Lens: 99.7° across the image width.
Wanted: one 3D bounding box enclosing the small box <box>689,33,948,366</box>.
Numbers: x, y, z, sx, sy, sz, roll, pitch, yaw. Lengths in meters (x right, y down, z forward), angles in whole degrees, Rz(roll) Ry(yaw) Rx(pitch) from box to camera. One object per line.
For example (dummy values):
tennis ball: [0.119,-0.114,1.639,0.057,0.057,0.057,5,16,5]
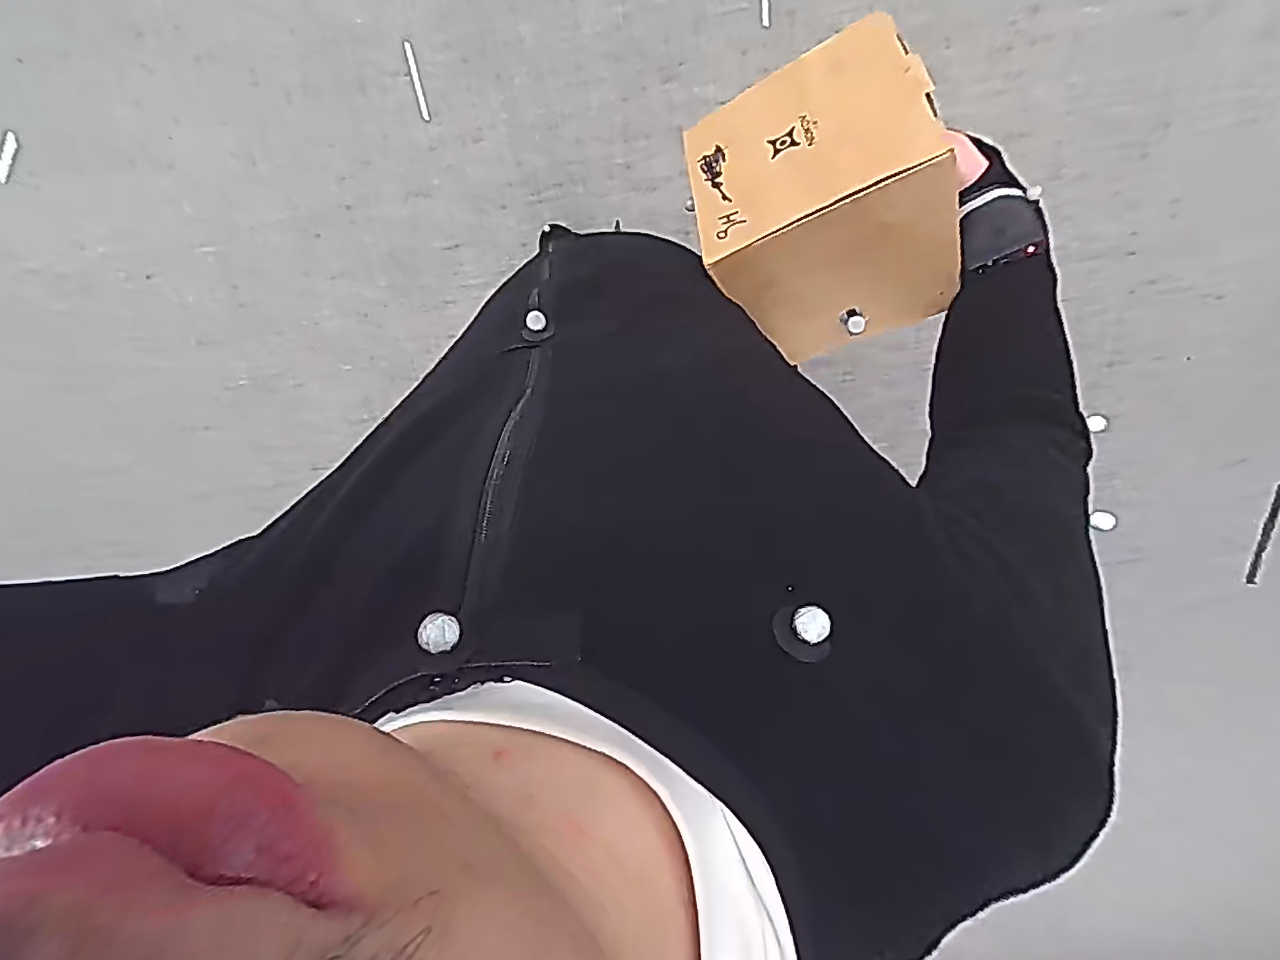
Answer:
small box: [0.164,-0.235,0.496,0.179,0.168,0.176,-17,151,25]
